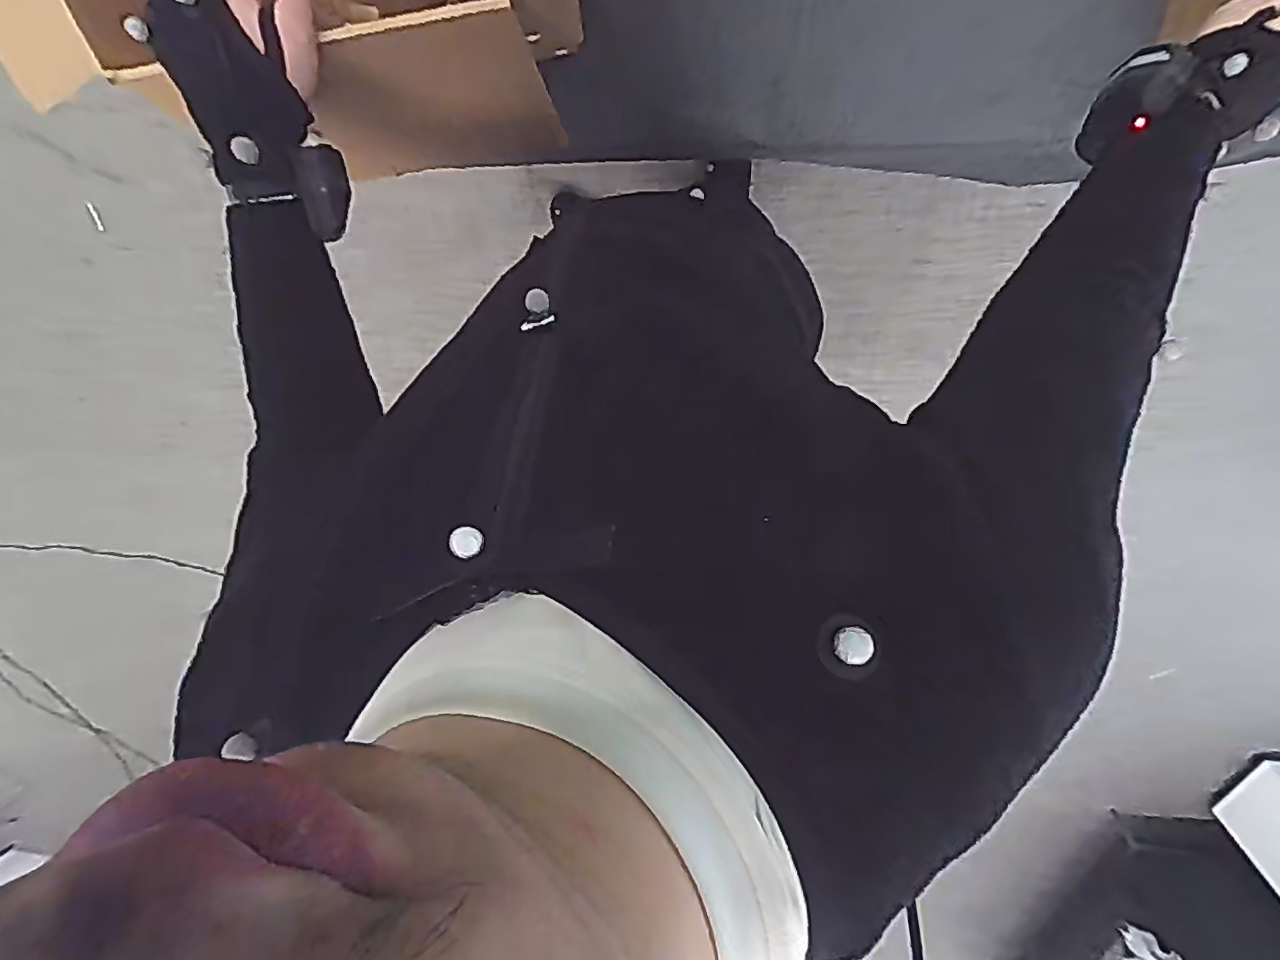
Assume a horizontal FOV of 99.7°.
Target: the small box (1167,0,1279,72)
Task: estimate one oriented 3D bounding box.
[{"bbox_3d":[0.615,-0.463,0.456,0.168,0.176,0.179,-2,122,7],"label":"small box"}]
